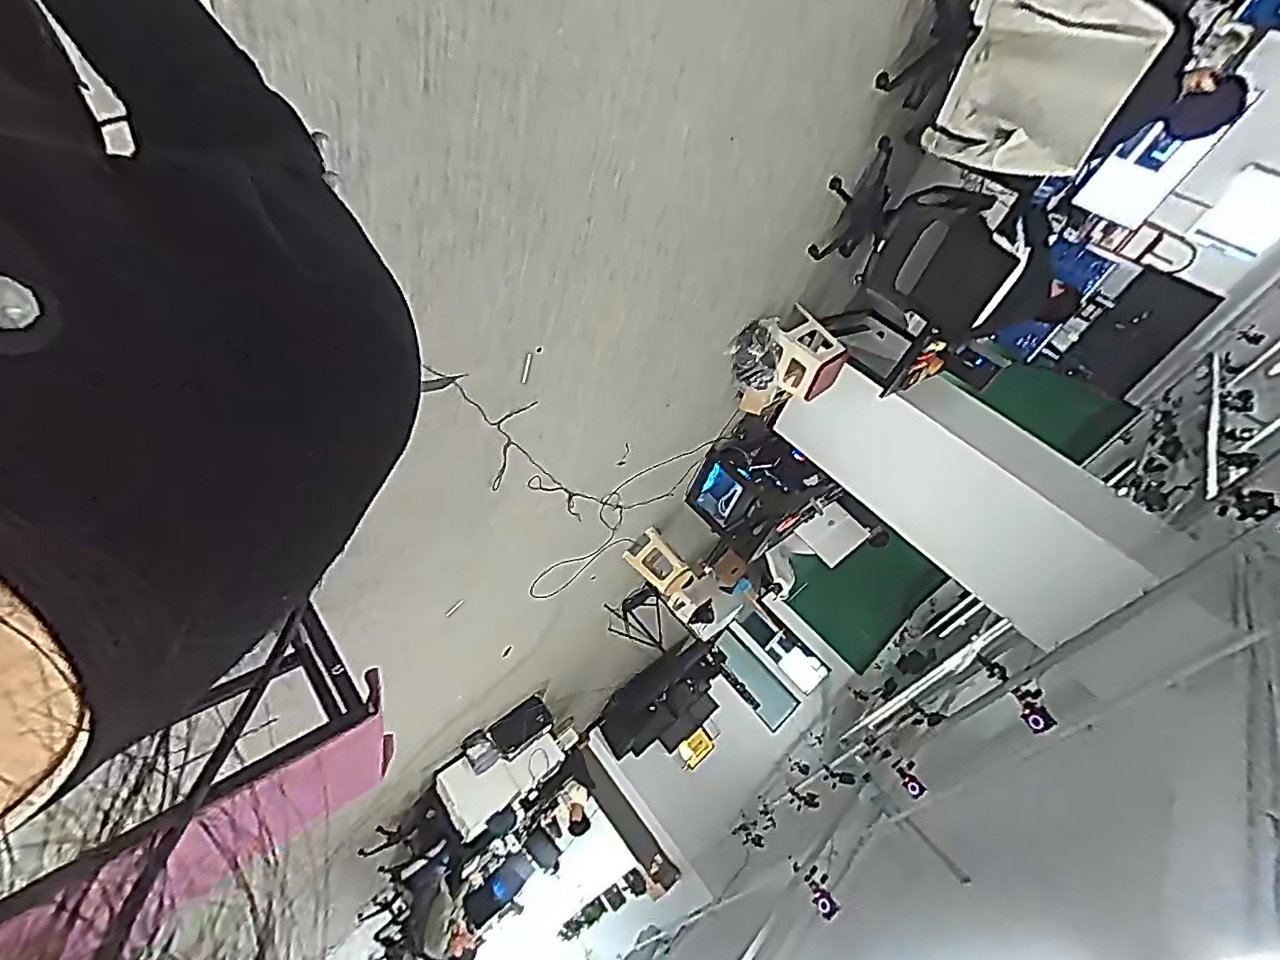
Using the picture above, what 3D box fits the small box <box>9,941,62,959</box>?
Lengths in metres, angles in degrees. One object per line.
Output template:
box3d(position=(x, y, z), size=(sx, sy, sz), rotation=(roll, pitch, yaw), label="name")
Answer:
box3d(position=(-1.432, 1.206, 1.219), size=(0.179, 0.176, 0.168), rotation=(-22, 148, -43), label="small box")

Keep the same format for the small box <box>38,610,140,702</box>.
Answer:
box3d(position=(-1.631, 0.511, 1.604), size=(0.168, 0.176, 0.179), rotation=(-21, 148, -42), label="small box")
